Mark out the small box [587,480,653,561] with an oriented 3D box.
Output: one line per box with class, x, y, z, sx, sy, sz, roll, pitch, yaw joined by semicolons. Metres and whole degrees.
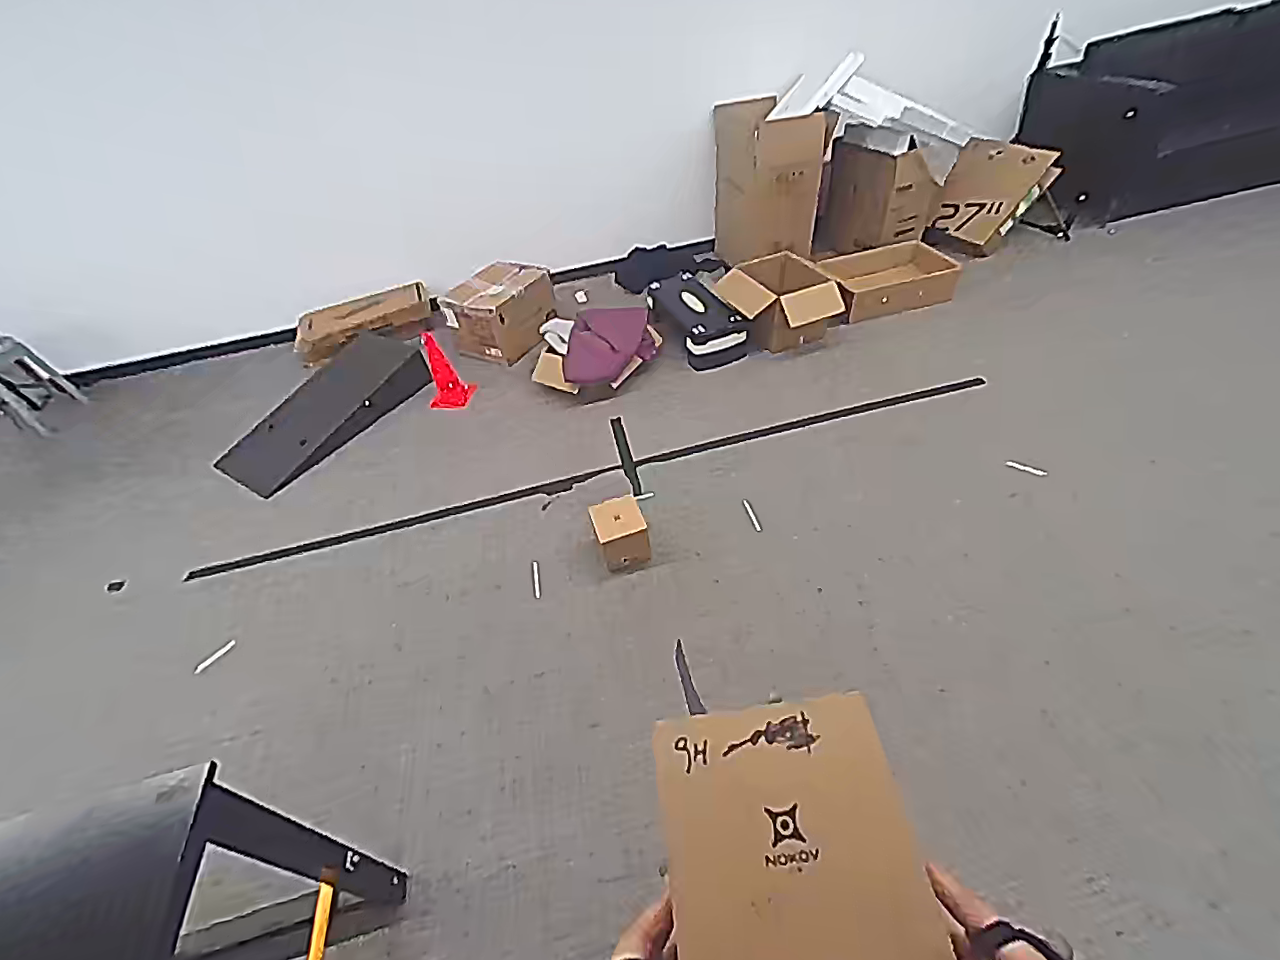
small box;-0.064;0.135;1.791;0.168;0.176;0.179;-19;46;-9
